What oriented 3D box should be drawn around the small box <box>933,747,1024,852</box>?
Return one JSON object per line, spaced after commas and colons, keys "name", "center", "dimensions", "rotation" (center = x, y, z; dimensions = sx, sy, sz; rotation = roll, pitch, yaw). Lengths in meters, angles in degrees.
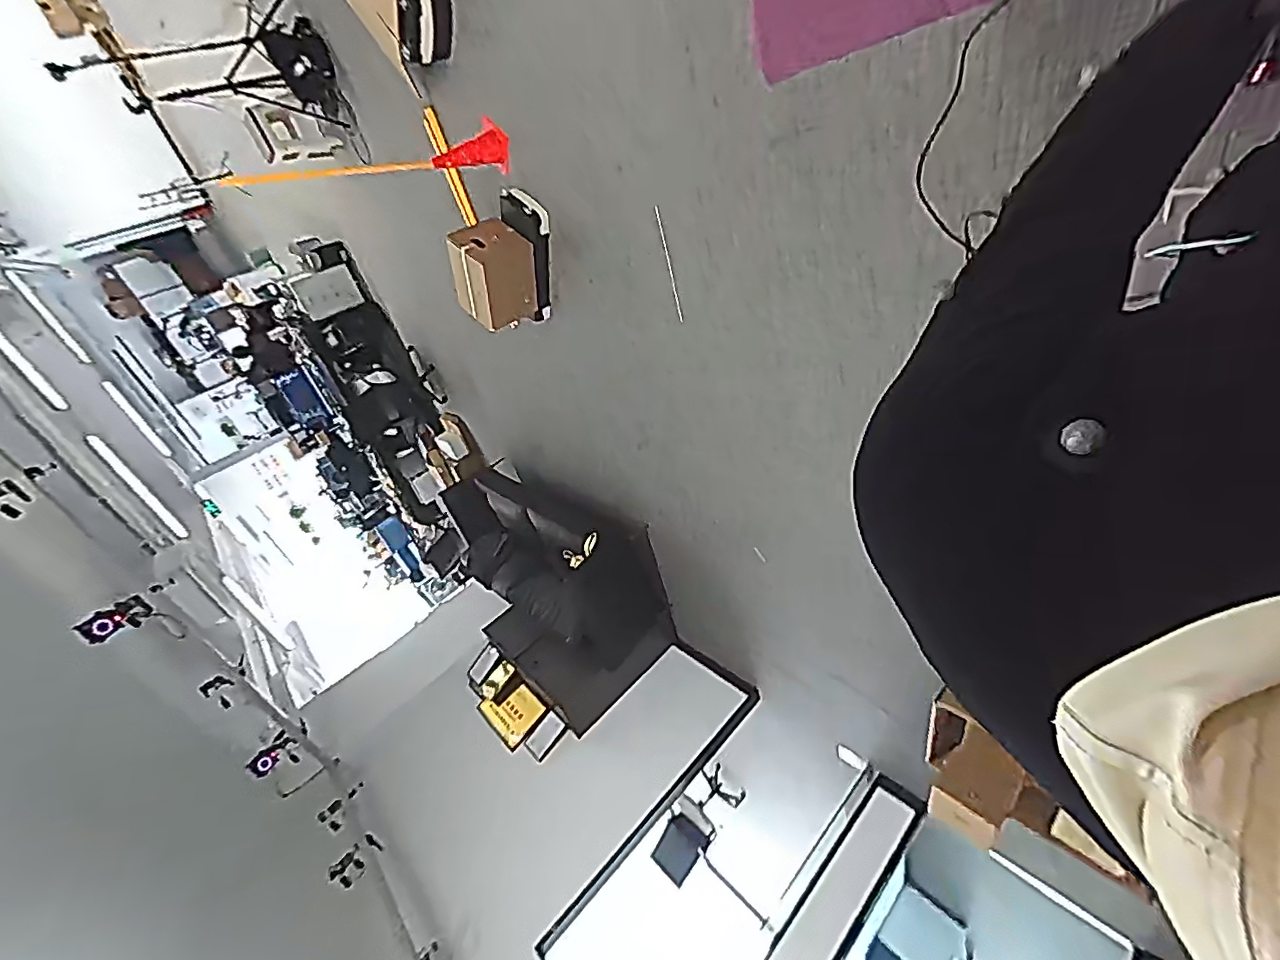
{"name": "small box", "center": [1.002, 0.938, 1.600], "dimensions": [0.179, 0.176, 0.168], "rotation": [26, 141, 43]}
